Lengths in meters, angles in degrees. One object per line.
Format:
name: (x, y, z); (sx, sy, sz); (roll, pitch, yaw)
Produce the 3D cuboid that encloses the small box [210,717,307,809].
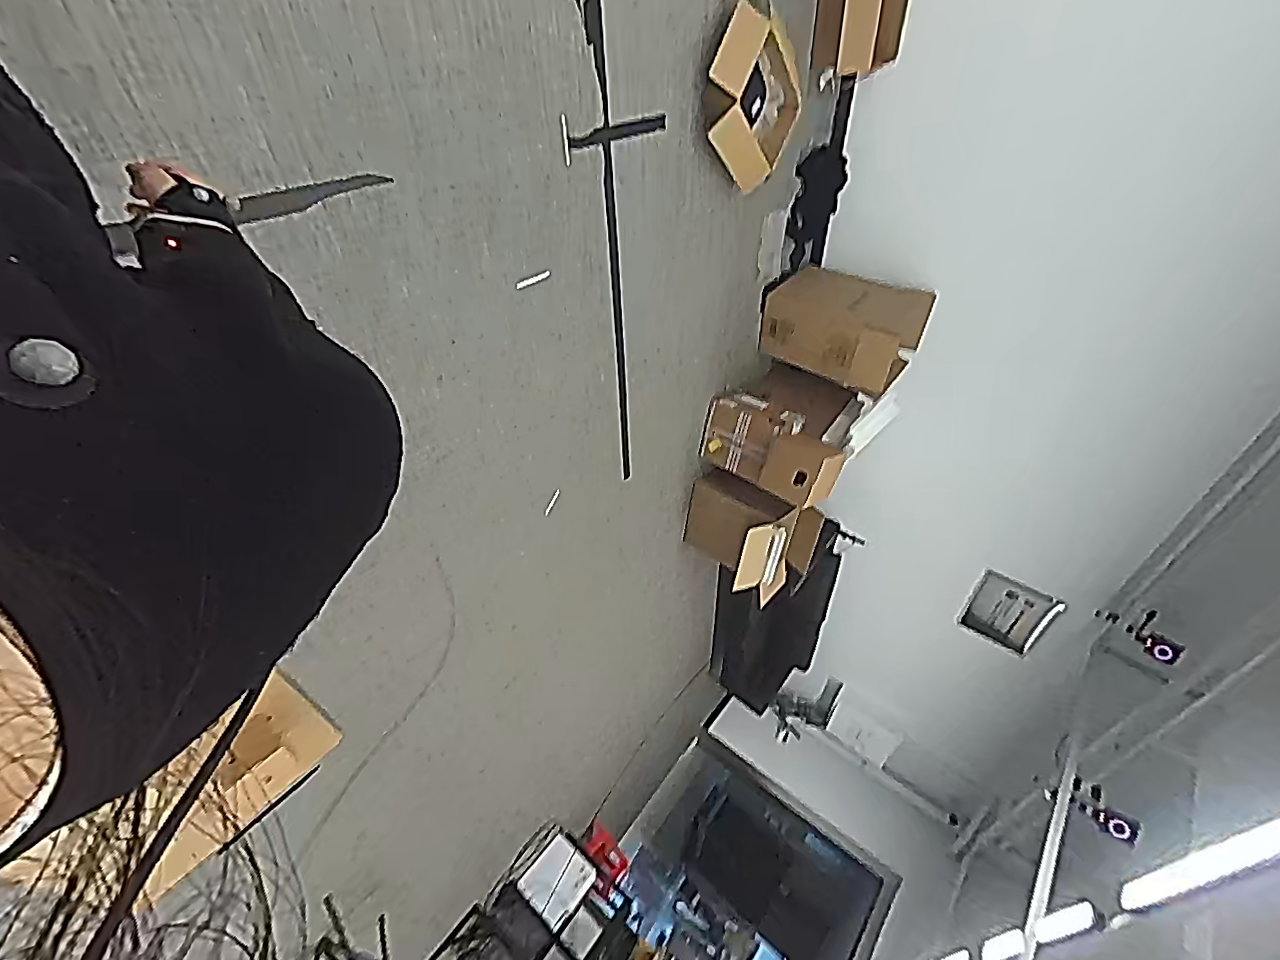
small box: (-1.206, 0.885, 1.707); (0.168, 0.176, 0.179); (-39, 144, -33)
